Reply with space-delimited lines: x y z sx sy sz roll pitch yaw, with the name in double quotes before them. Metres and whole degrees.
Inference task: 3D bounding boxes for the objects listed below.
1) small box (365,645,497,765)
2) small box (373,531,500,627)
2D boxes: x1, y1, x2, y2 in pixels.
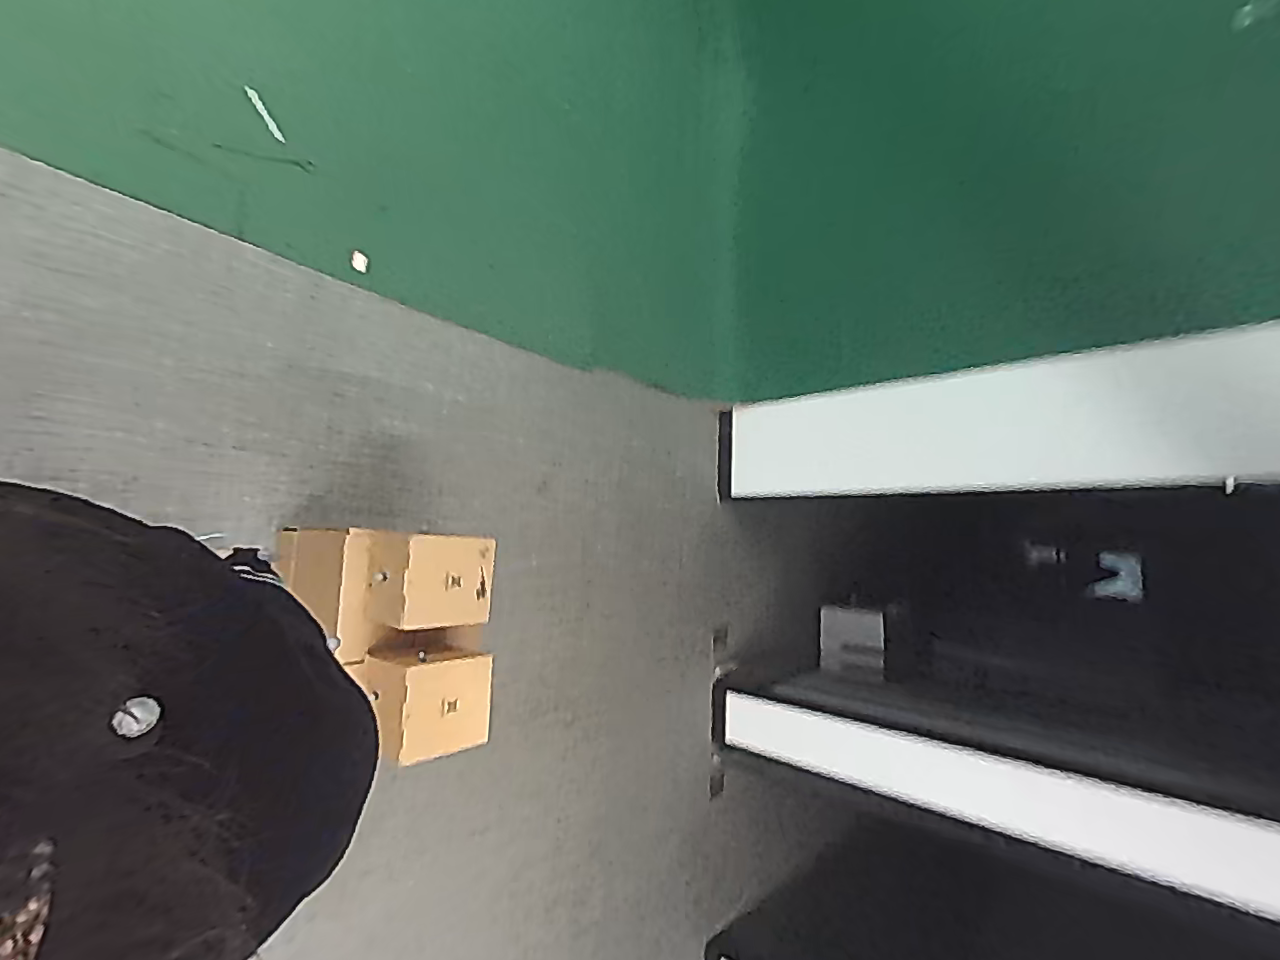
"small box" -0.404 0.422 1.050 0.179 0.176 0.168 10 79 -48
"small box" -0.402 0.190 1.064 0.179 0.176 0.168 10 82 -46
